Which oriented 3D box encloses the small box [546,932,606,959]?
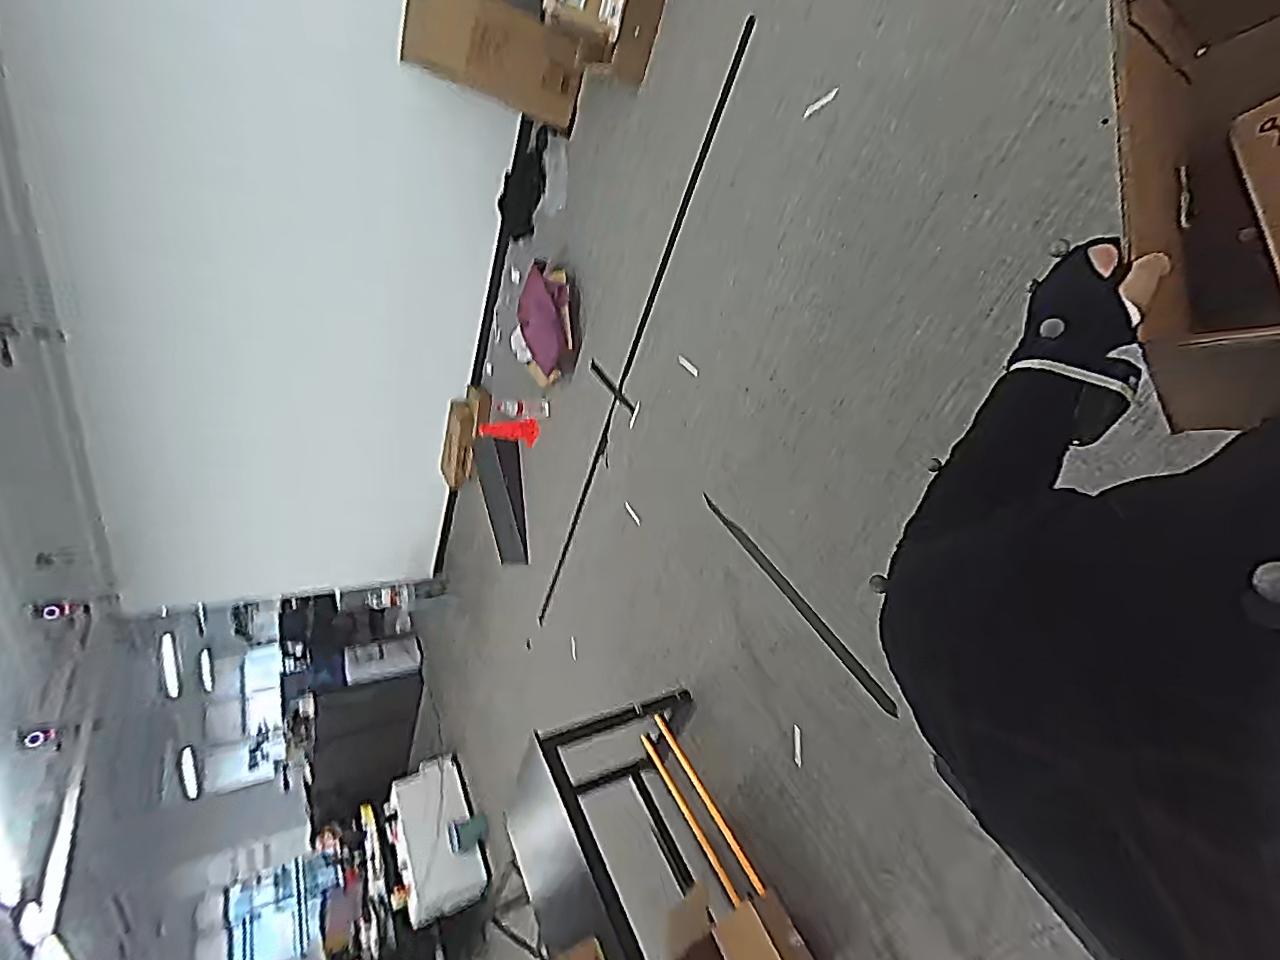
[{"bbox_3d":[-0.195,1.502,1.607,0.168,0.176,0.179,52,131,39],"label":"small box"}]
